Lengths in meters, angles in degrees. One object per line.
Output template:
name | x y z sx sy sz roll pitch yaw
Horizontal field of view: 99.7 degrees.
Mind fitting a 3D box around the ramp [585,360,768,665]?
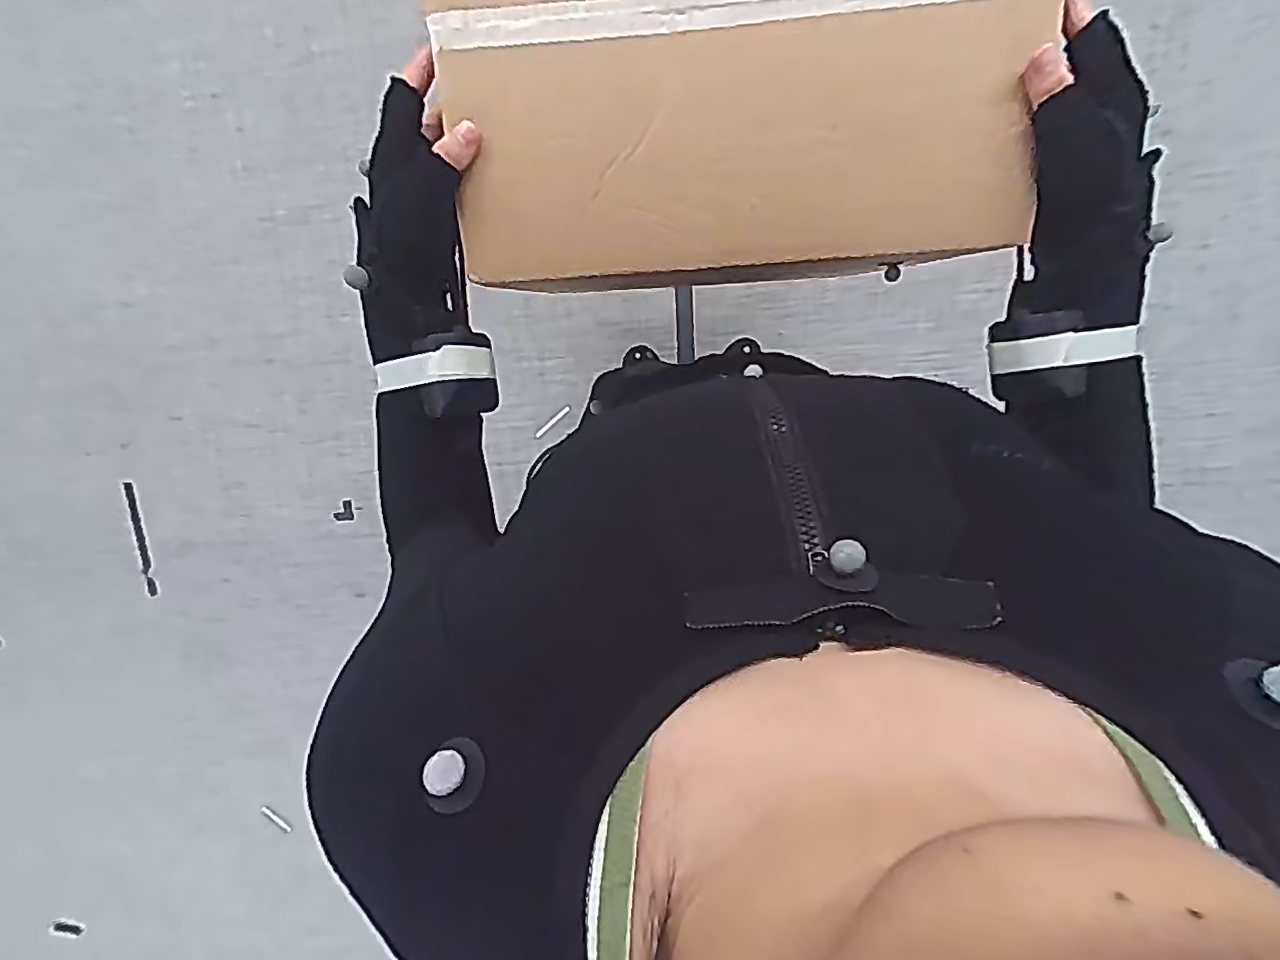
ramp | 0.133 0.153 1.626 0.509 0.206 0.991 -5 103 2

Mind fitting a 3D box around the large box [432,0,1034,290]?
large box | 0.064 -0.354 0.498 0.408 0.320 0.320 -3 107 2
